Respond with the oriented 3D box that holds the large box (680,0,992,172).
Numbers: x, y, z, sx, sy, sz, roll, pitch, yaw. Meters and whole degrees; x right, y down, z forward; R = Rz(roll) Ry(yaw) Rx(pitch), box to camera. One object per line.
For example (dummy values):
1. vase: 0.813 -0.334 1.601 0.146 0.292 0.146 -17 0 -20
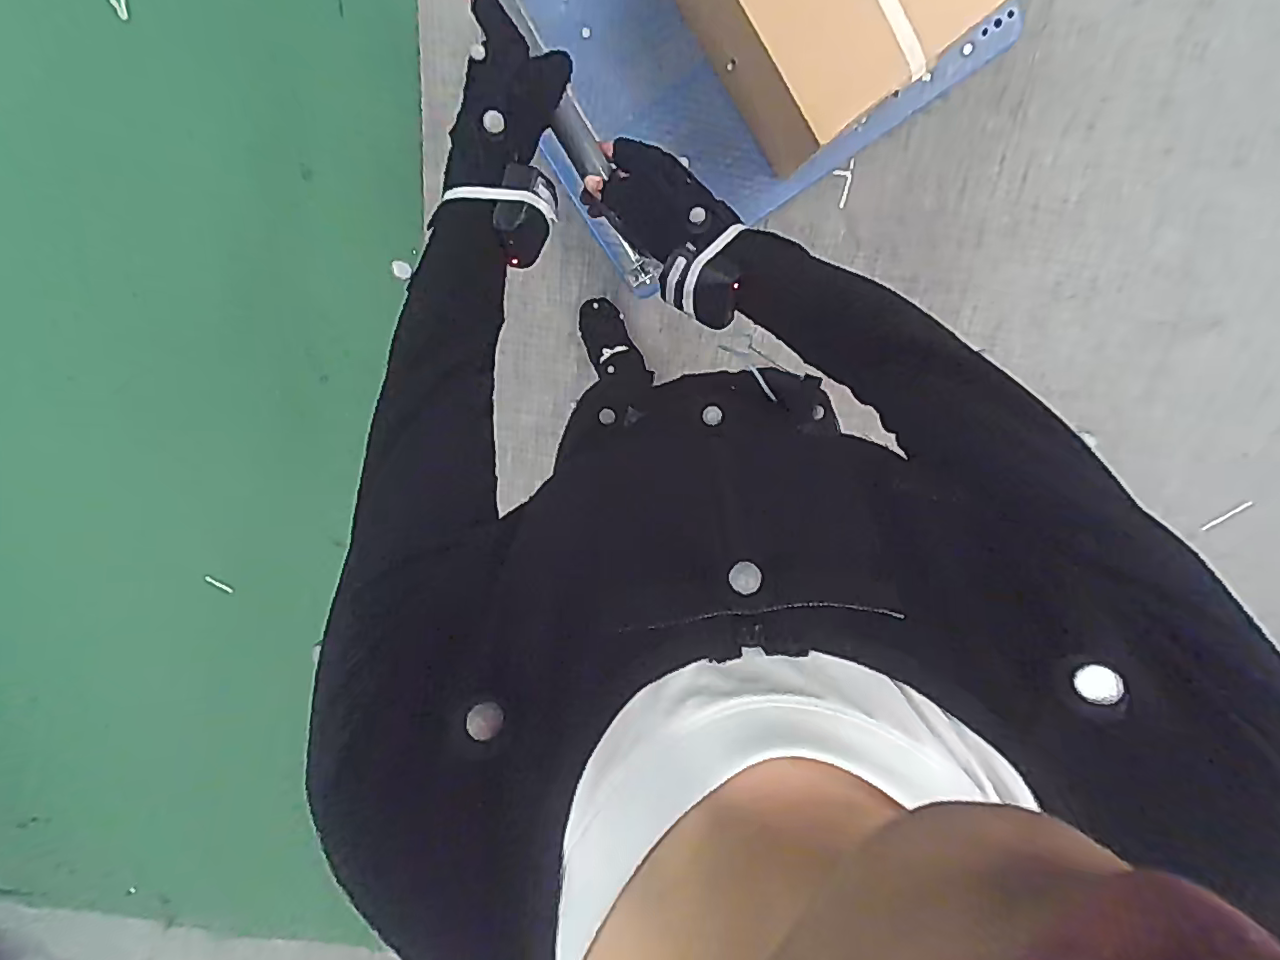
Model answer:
1. large box: 0.288 -0.803 0.879 0.320 0.320 0.408 -35 104 15
